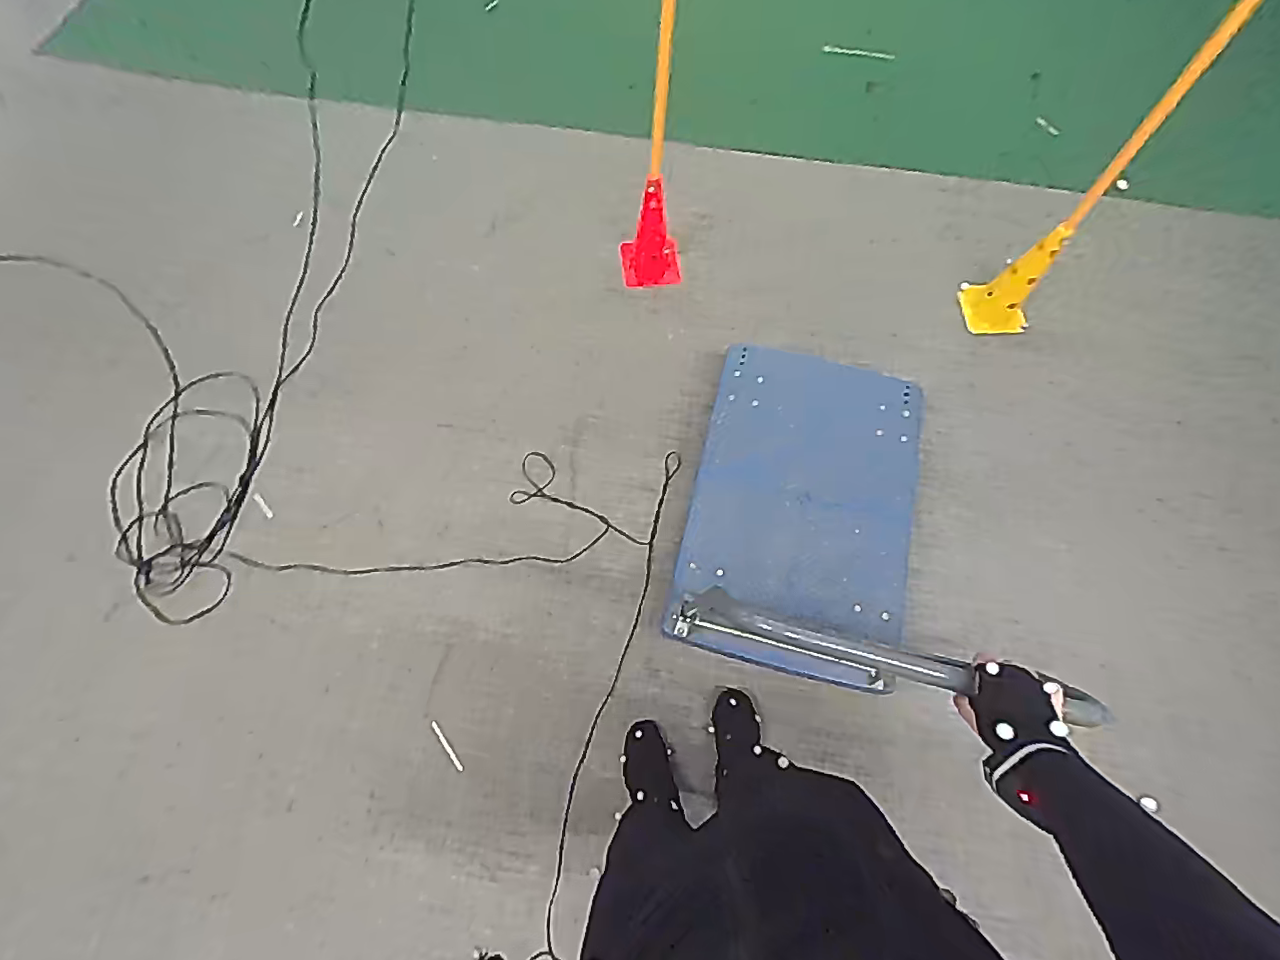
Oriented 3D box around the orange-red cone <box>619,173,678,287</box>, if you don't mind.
[{"bbox_3d":[0.029,-0.822,1.743,0.199,0.360,0.198,-6,69,-1],"label":"orange-red cone"}]
